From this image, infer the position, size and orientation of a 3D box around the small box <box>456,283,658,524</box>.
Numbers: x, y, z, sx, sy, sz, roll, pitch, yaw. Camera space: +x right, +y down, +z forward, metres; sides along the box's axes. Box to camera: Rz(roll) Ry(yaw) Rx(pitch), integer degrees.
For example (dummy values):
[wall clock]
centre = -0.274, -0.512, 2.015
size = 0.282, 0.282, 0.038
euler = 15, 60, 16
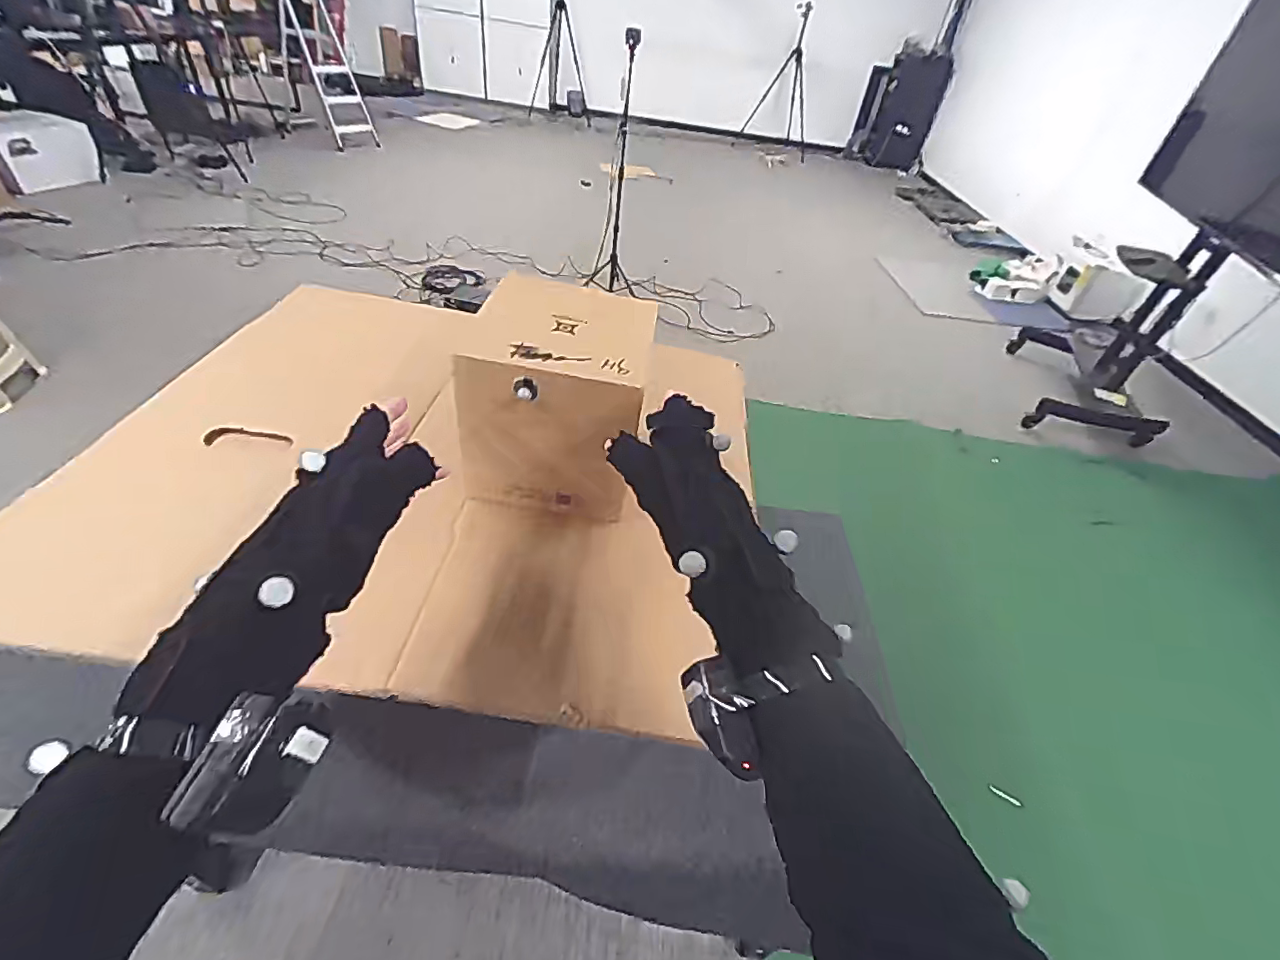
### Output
[small box]
centre = -0.081, -0.082, 0.572
size = 0.168, 0.176, 0.179
euler = 10, 41, -1
